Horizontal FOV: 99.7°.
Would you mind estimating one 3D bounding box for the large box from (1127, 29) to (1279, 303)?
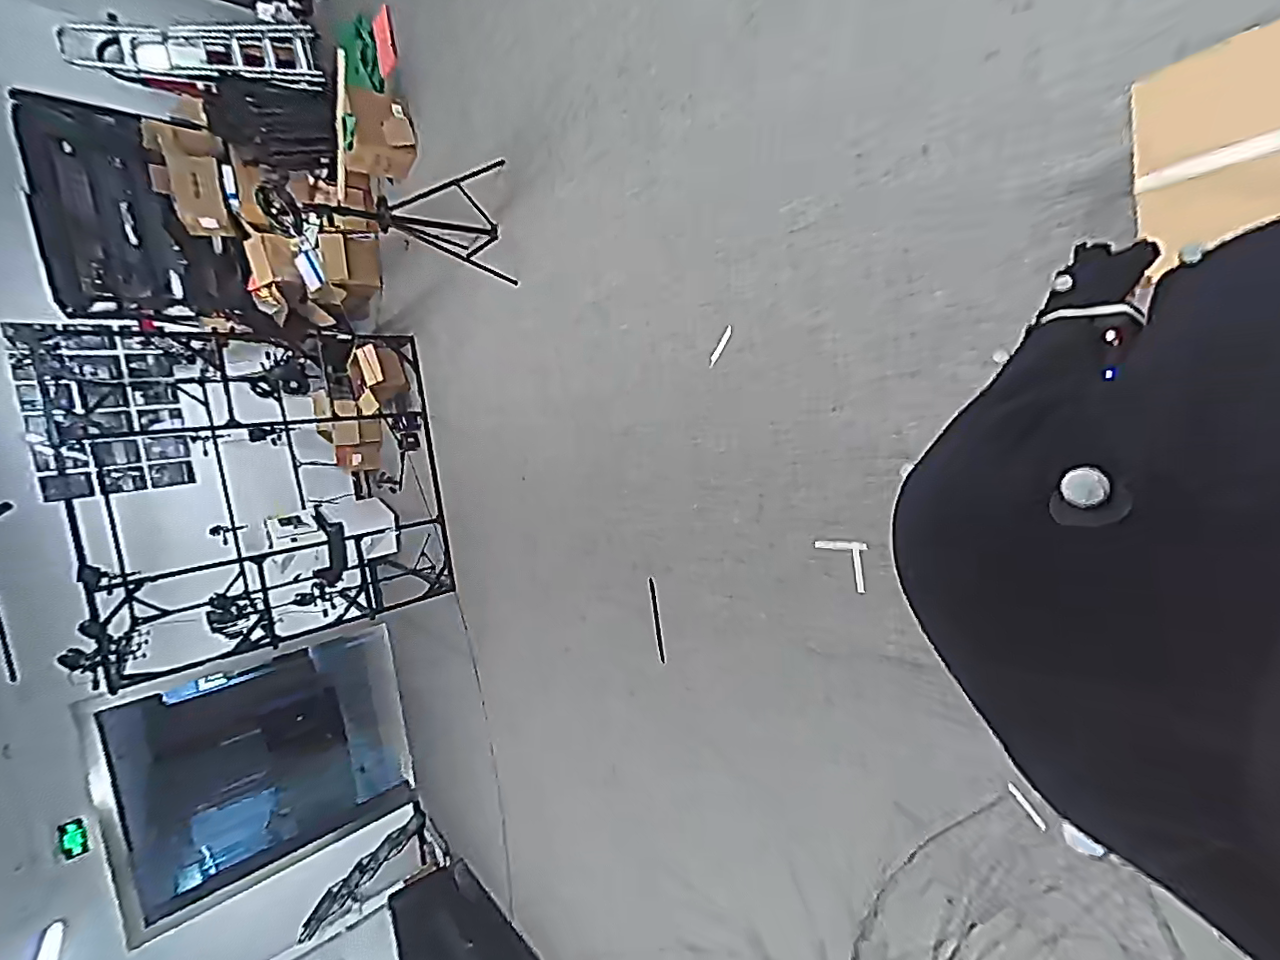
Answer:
[{"bbox_3d":[1.029,-0.484,0.811,0.408,0.320,0.320,-2,97,50],"label":"large box"}]
